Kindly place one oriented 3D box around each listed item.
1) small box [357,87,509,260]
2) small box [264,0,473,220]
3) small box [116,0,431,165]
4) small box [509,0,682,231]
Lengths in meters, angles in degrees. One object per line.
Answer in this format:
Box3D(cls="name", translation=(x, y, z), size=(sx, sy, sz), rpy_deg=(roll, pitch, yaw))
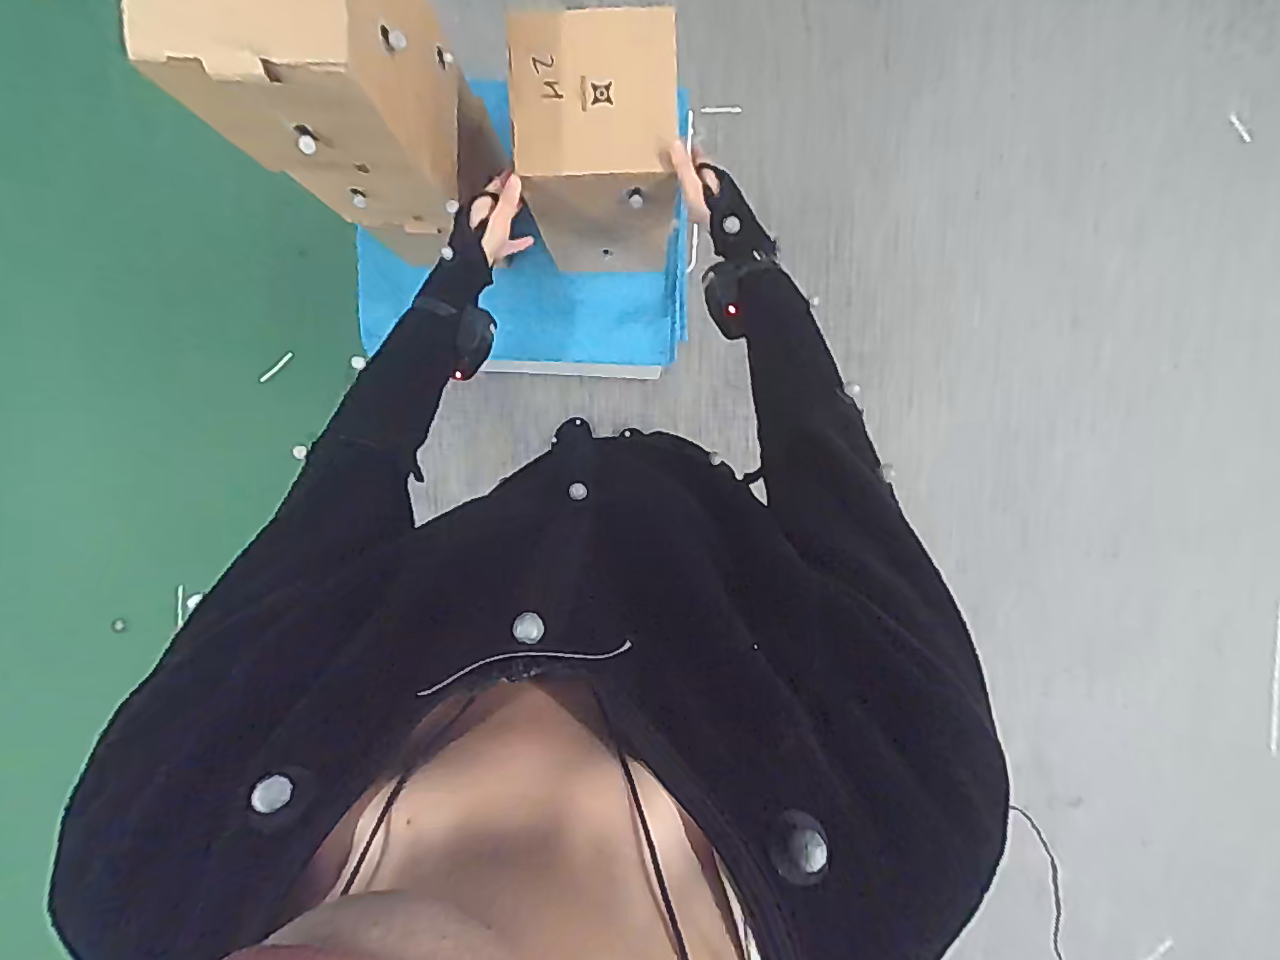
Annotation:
Box3D(cls="small box", translation=(-0.291, -0.436, 0.791), size=(0.168, 0.176, 0.179), rpy_deg=(2, 94, -2))
Box3D(cls="small box", translation=(-0.301, -0.425, 0.629), size=(0.168, 0.176, 0.179), rpy_deg=(3, 93, -1))
Box3D(cls="small box", translation=(-0.293, -0.403, 0.467), size=(0.168, 0.176, 0.179), rpy_deg=(3, 94, -2))
Box3D(cls="small box", translation=(-0.045, -0.406, 0.630), size=(0.179, 0.176, 0.168), rpy_deg=(-1, 93, 1))
